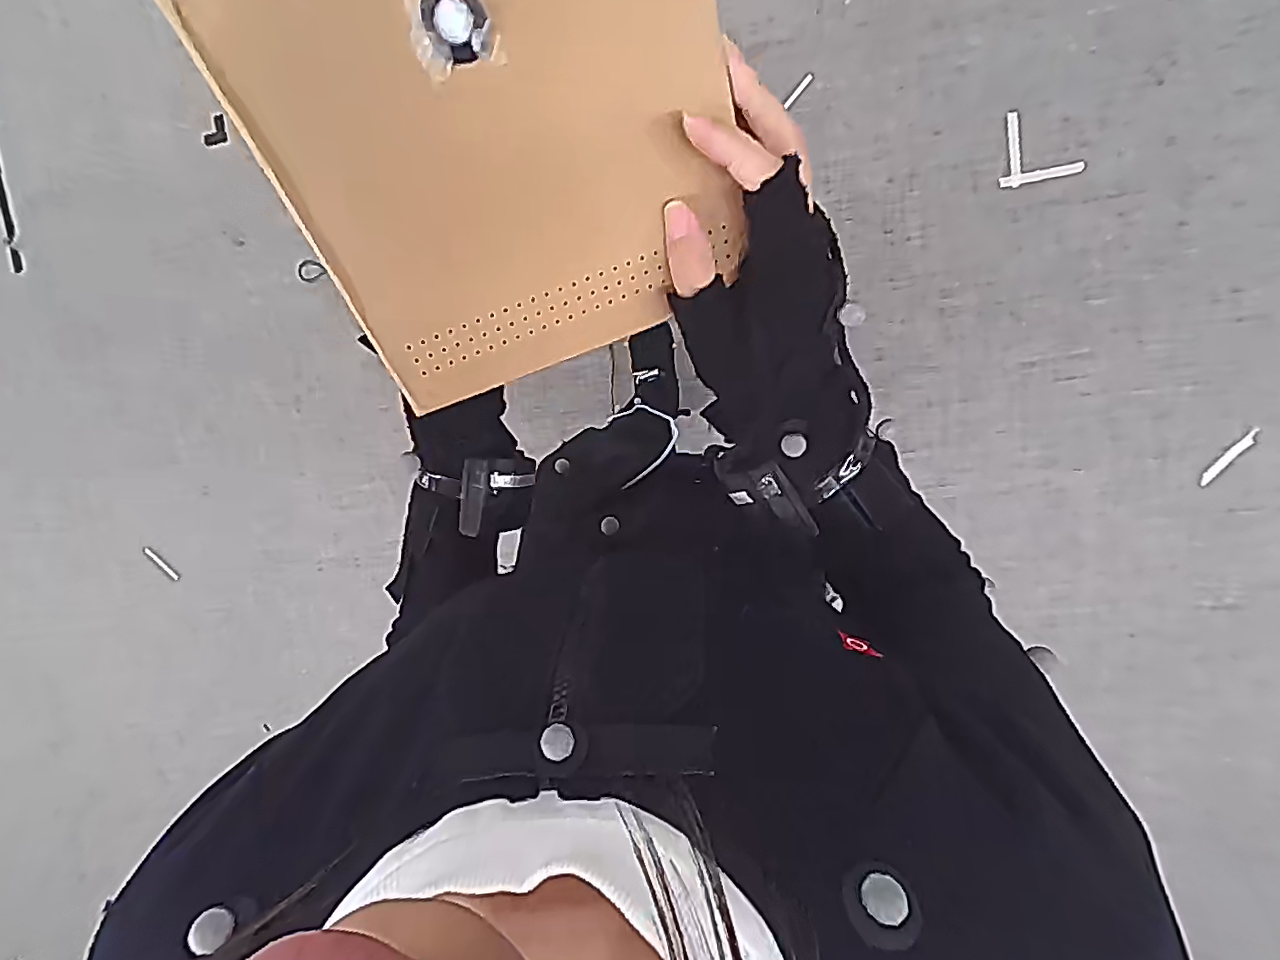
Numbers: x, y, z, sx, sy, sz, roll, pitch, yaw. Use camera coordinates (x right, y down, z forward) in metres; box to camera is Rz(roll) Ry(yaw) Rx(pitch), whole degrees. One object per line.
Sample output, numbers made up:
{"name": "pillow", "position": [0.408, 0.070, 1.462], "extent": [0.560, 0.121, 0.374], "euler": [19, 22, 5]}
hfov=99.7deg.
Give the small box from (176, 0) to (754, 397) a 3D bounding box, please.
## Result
{"name": "small box", "position": [-0.062, -0.166, 0.276], "extent": [0.179, 0.168, 0.176], "euler": [-21, 126, -2]}
